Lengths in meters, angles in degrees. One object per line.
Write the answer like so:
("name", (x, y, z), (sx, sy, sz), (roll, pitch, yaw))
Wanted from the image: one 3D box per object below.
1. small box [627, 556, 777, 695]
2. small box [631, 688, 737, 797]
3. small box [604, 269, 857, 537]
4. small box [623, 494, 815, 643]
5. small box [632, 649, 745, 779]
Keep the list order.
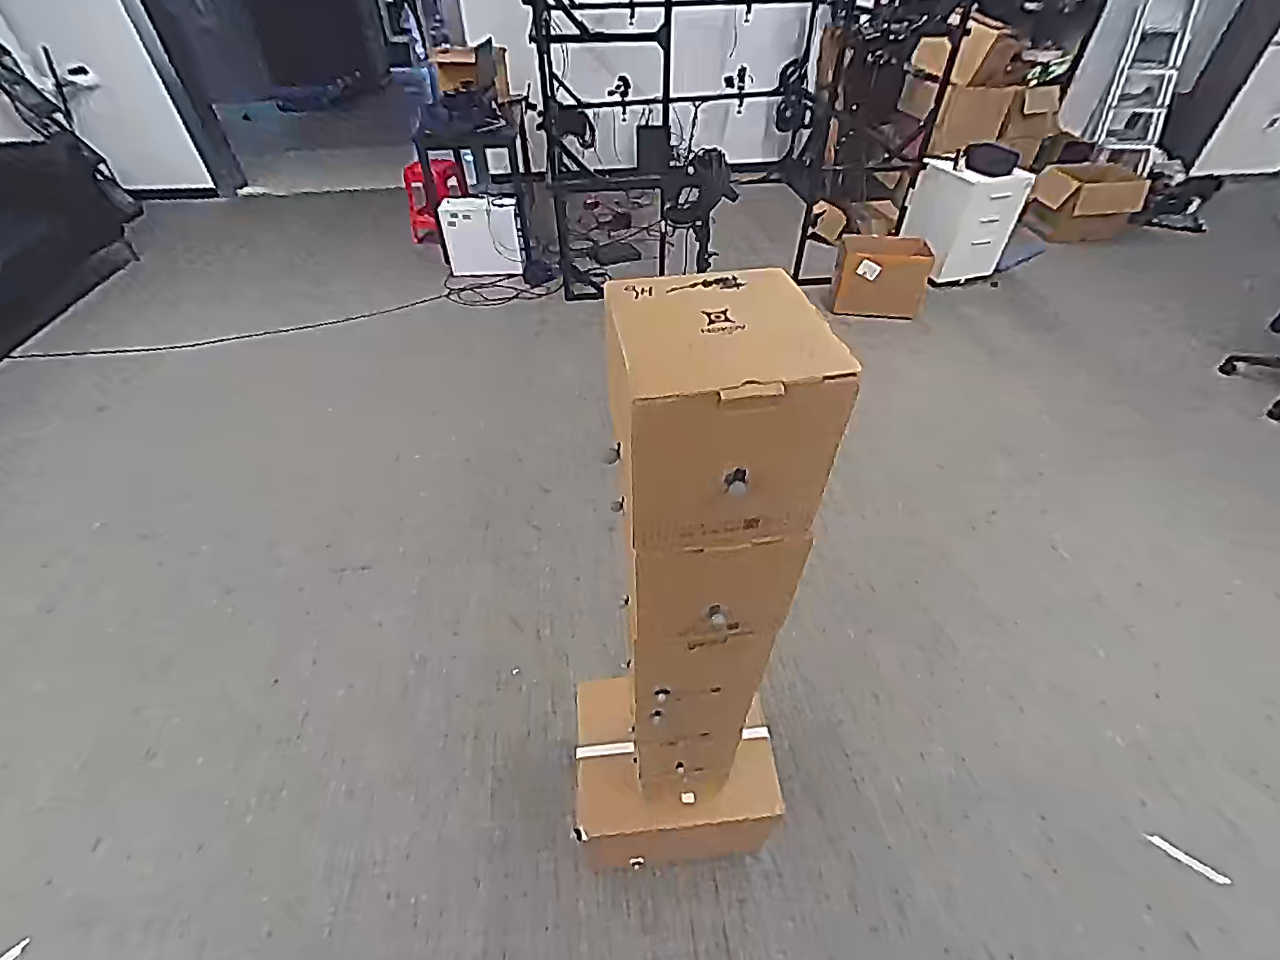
("small box", (0.071, 0.169, 0.716), (0.168, 0.176, 0.179), (-4, 45, -3))
("small box", (0.080, 0.507, 1.070), (0.179, 0.176, 0.168), (-6, 46, -6))
("small box", (0.062, -0.063, 0.483), (0.168, 0.176, 0.179), (-7, 47, -6))
("small box", (0.069, 0.054, 0.597), (0.168, 0.176, 0.179), (-6, 46, -4))
("small box", (0.074, 0.398, 0.950), (0.168, 0.176, 0.179), (-6, 46, -4))
